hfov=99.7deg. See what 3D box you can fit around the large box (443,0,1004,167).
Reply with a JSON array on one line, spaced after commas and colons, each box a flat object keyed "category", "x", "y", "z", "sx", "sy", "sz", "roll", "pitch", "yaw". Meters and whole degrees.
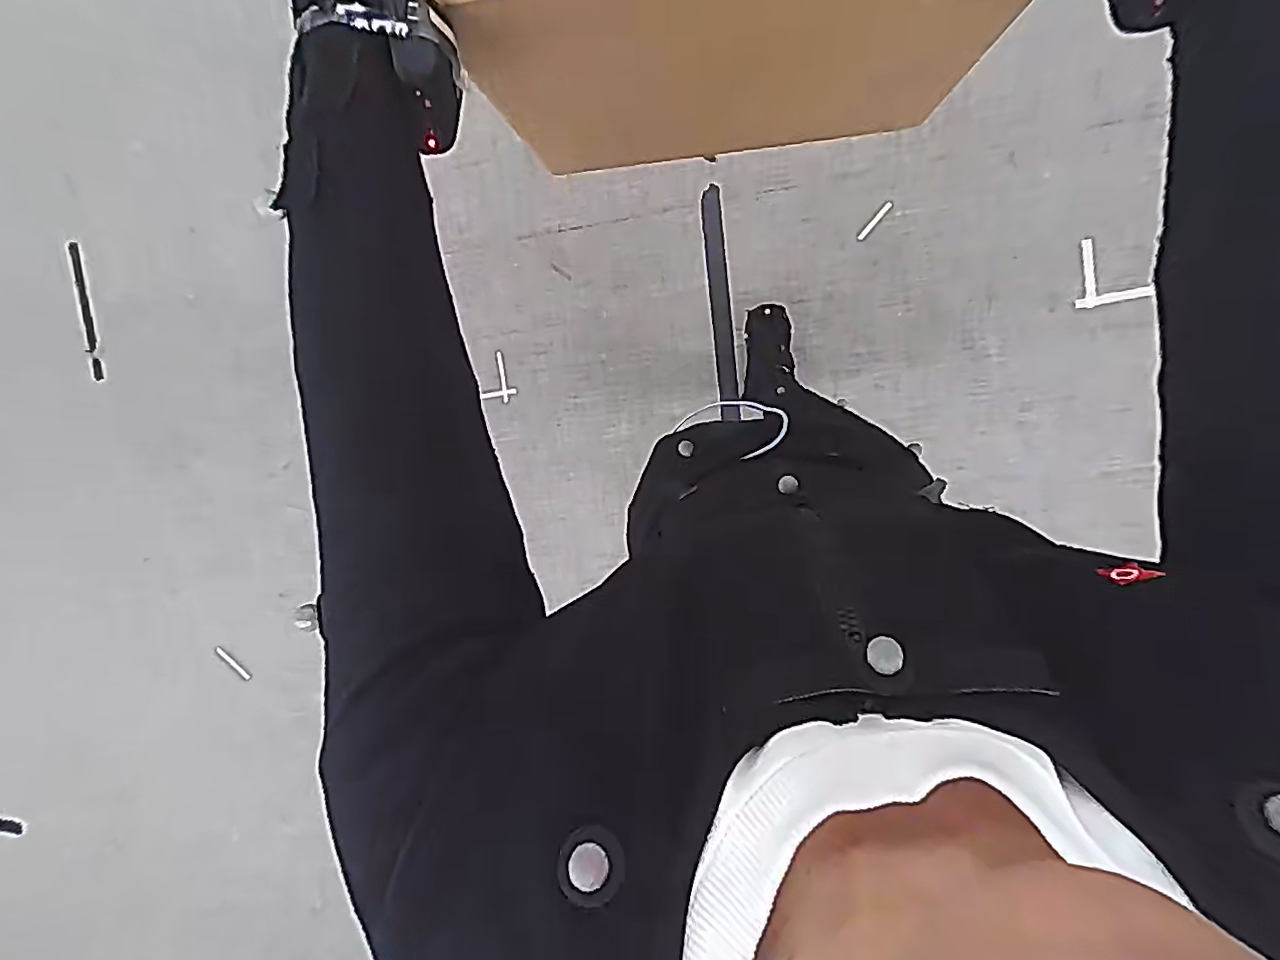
[{"category": "large box", "x": 0.066, "y": -0.491, "z": 0.426, "sx": 0.408, "sy": 0.320, "sz": 0.320, "roll": -4, "pitch": 102, "yaw": 7}]
